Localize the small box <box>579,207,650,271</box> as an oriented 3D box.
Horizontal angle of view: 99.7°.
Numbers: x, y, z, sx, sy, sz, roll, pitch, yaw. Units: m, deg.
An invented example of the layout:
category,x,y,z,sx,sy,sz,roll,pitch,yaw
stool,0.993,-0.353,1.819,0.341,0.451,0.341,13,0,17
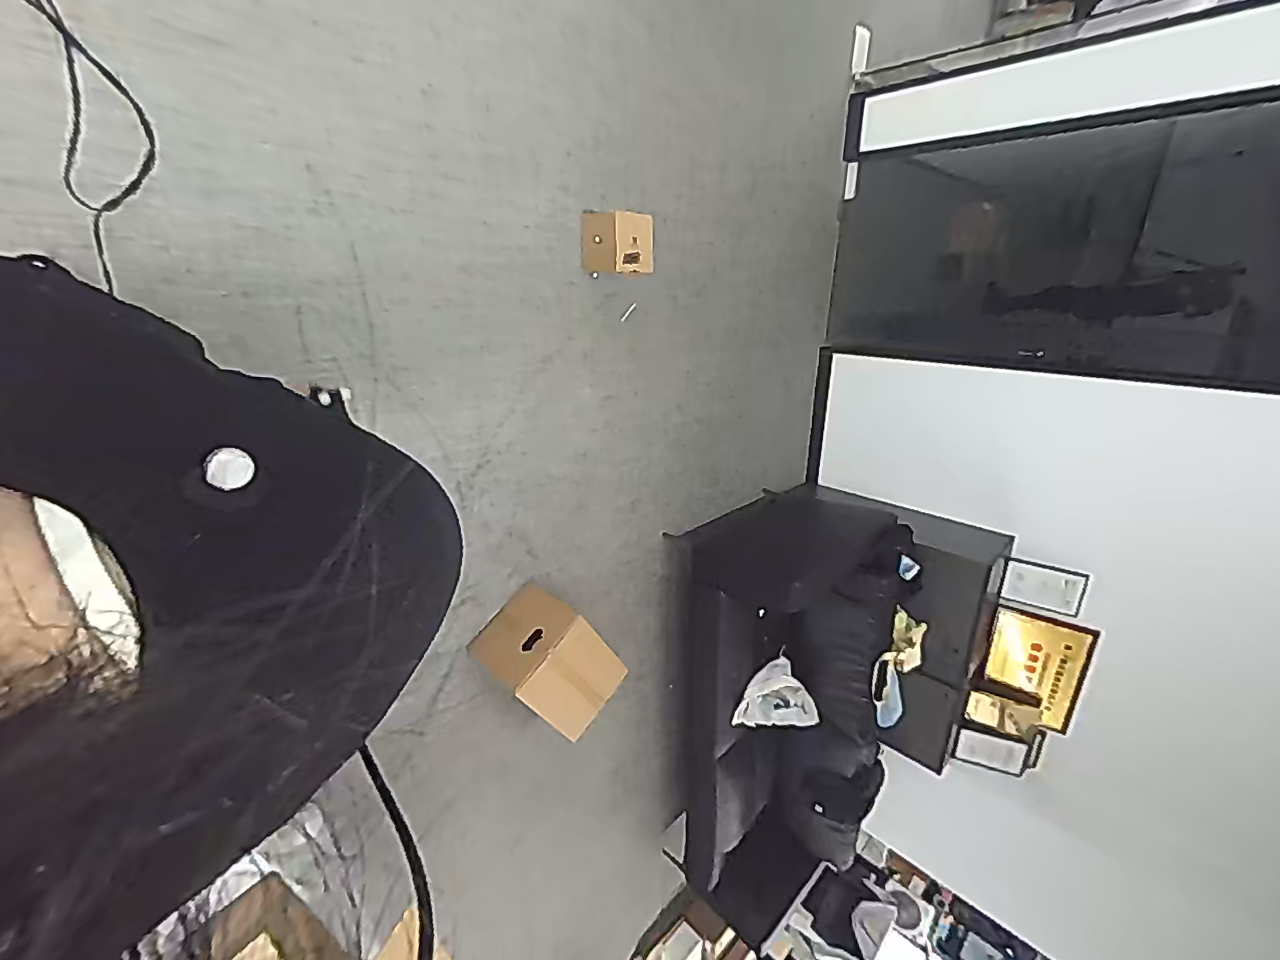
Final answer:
category,x,y,z,sx,sy,sz,roll,pitch,yaw
small box,-0.086,-0.782,1.769,0.168,0.176,0.179,-18,117,-42
